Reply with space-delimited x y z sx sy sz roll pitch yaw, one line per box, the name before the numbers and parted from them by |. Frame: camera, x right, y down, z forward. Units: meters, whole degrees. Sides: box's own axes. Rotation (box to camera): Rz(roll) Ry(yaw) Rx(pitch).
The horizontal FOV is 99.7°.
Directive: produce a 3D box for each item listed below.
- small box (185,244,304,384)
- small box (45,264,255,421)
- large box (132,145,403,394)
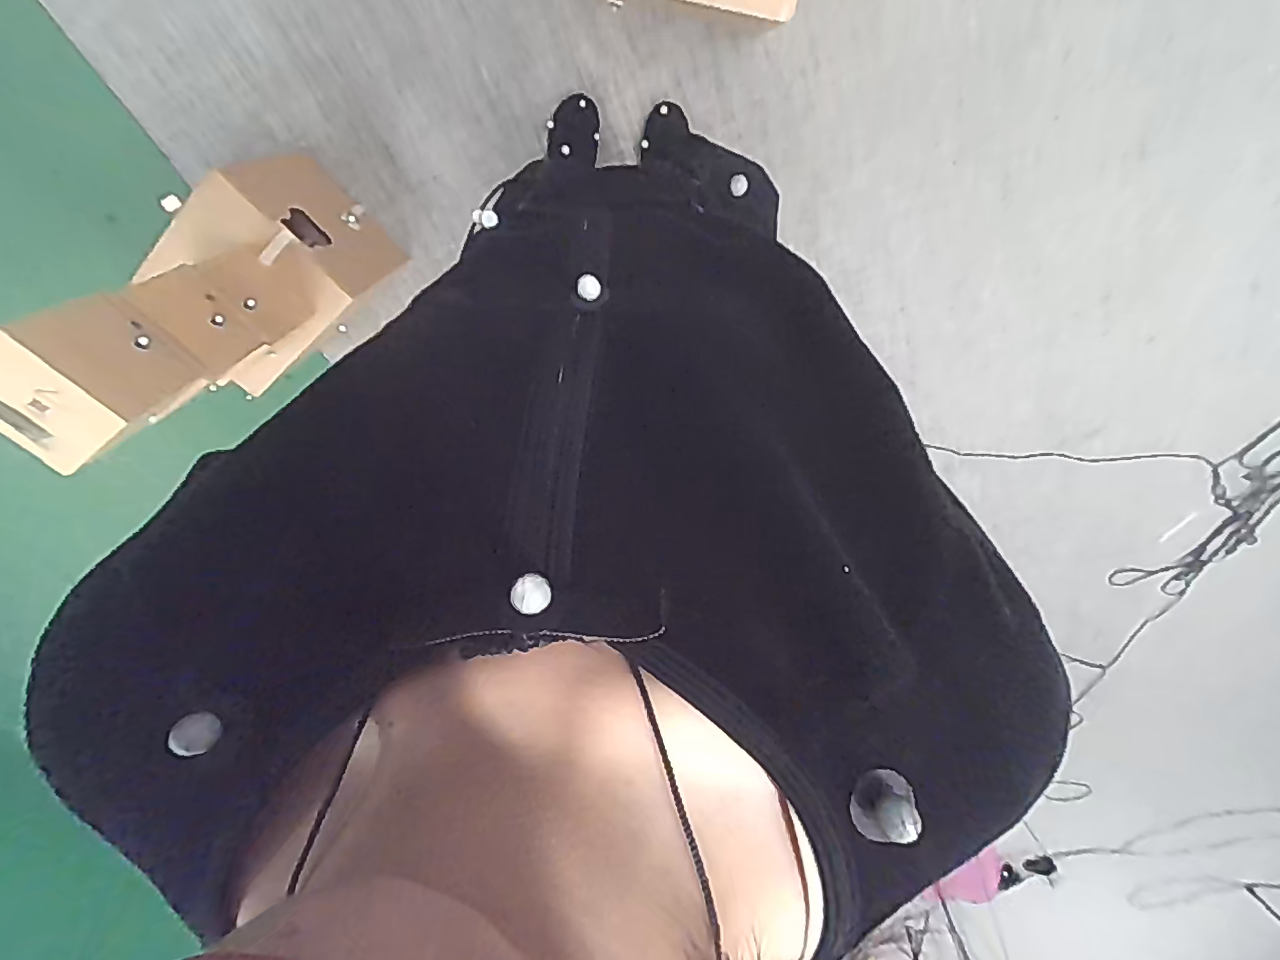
small box | -0.809 -0.327 1.055 0.168 0.176 0.179 -26 122 20
small box | -0.815 -0.236 0.921 0.179 0.176 0.168 -25 122 19
large box | -0.840 -0.482 1.248 0.408 0.320 0.320 -30 119 24
